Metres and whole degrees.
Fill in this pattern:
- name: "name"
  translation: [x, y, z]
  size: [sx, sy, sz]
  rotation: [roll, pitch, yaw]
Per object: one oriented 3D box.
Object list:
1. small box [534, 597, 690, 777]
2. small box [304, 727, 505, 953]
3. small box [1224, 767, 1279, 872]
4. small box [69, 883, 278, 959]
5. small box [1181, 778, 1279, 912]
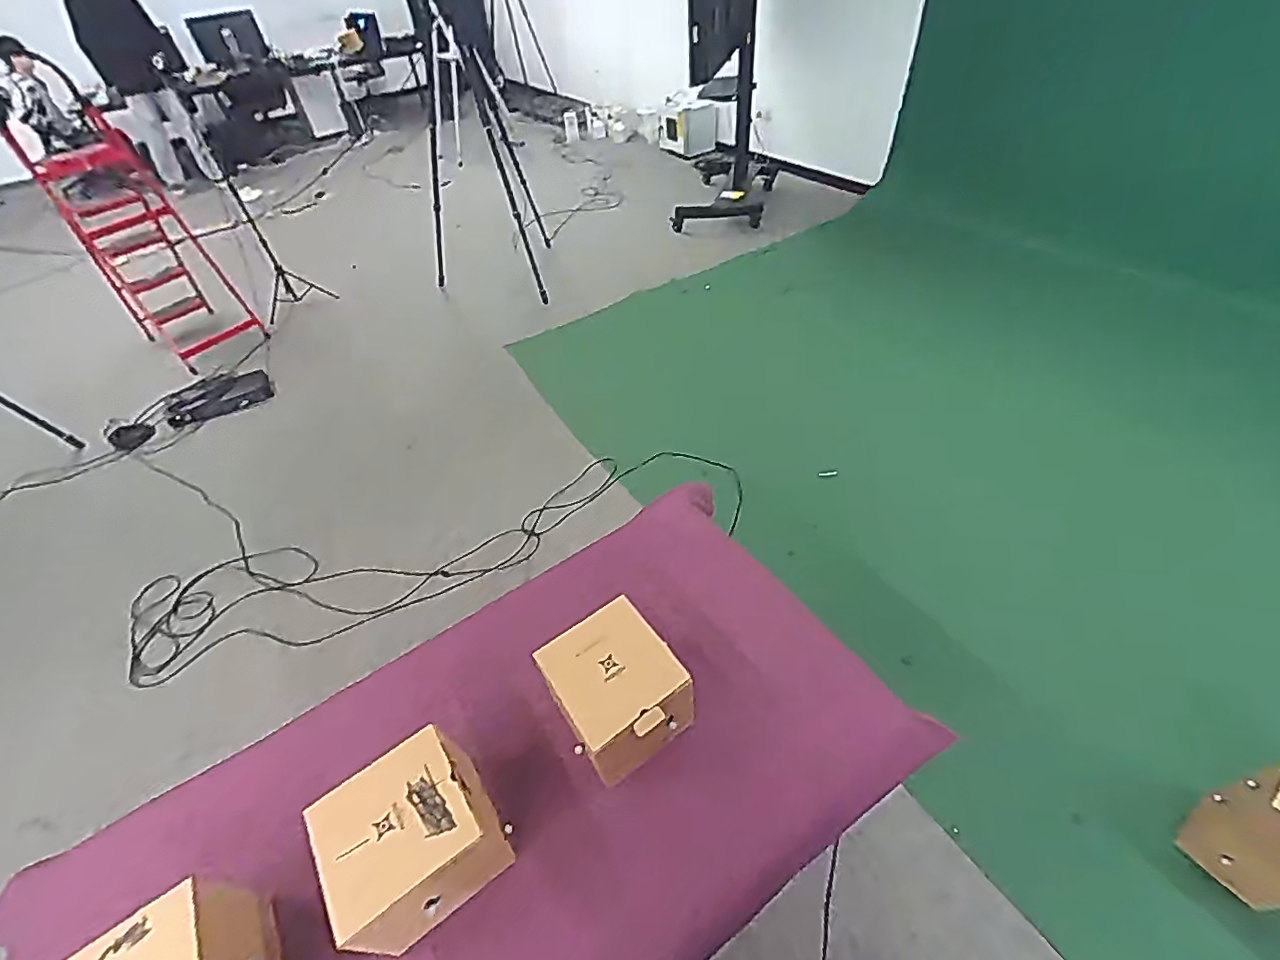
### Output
- name: "small box"
  translation: [-0.036, 0.321, 0.825]
  size: [0.168, 0.176, 0.179]
  rotation: [-29, 50, -21]
- name: "small box"
  translation: [-0.295, 0.471, 0.711]
  size: [0.179, 0.176, 0.168]
  rotation: [-31, 51, -20]
- name: "small box"
  translation: [1.354, 0.700, 1.084]
  size: [0.168, 0.176, 0.179]
  rotation: [-30, 50, -21]
- name: "small box"
  translation: [-0.533, 0.605, 0.608]
  size: [0.168, 0.176, 0.179]
  rotation: [-30, 51, -22]
- name: "small box"
  translation: [1.373, 0.813, 1.202]
  size: [0.179, 0.176, 0.168]
  rotation: [-29, 50, -21]
